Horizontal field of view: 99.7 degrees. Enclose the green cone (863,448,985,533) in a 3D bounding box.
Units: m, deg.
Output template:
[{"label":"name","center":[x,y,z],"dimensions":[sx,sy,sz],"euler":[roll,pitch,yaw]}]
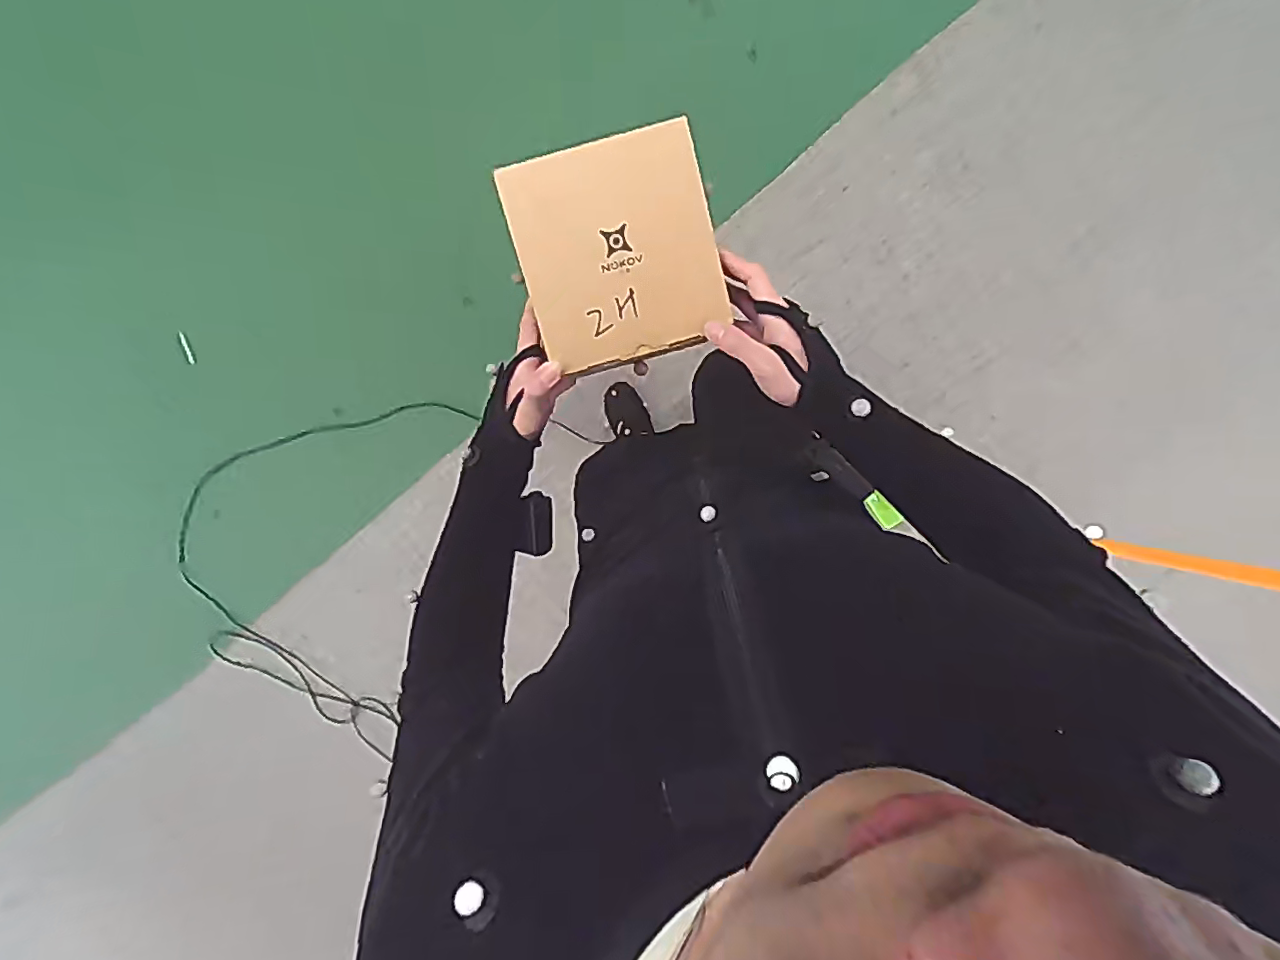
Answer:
[{"label":"green cone","center":[0.798,0.064,1.451],"dimensions":[0.202,0.368,0.200],"euler":[-37,100,7]}]
